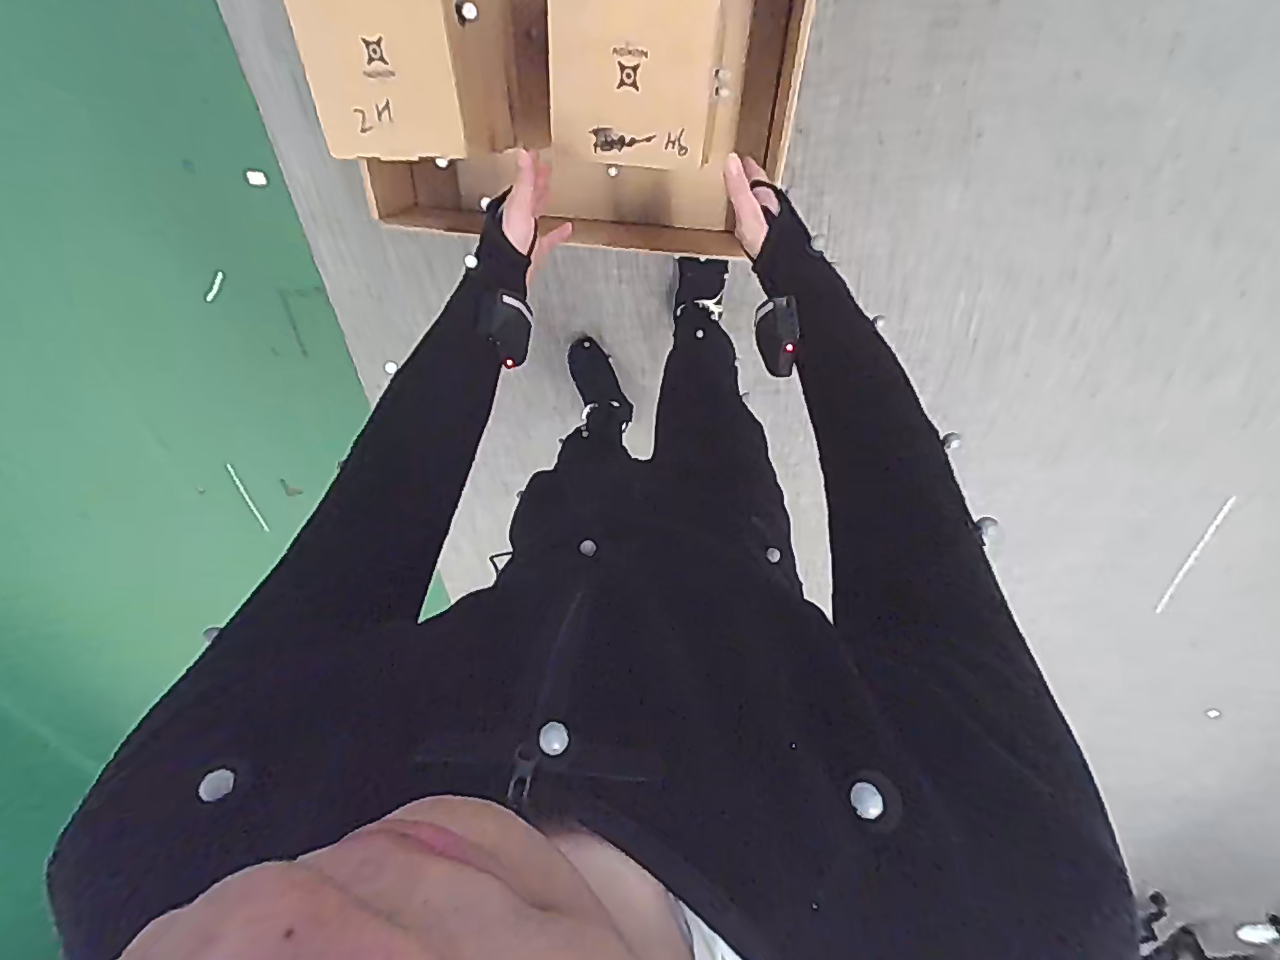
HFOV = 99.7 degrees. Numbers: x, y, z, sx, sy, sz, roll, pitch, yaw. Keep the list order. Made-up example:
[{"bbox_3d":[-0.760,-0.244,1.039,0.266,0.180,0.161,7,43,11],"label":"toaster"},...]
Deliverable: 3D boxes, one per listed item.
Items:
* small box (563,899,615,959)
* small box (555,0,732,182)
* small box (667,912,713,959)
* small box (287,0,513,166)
[{"bbox_3d":[-0.189,1.741,2.067,0.168,0.176,0.179,3,126,5],"label":"small box"},{"bbox_3d":[0.005,-0.448,0.598,0.168,0.176,0.179,8,127,2],"label":"small box"},{"bbox_3d":[0.184,1.741,2.010,0.168,0.176,0.179,2,126,7],"label":"small box"},{"bbox_3d":[-0.257,-0.470,0.617,0.168,0.176,0.179,4,127,5],"label":"small box"}]
